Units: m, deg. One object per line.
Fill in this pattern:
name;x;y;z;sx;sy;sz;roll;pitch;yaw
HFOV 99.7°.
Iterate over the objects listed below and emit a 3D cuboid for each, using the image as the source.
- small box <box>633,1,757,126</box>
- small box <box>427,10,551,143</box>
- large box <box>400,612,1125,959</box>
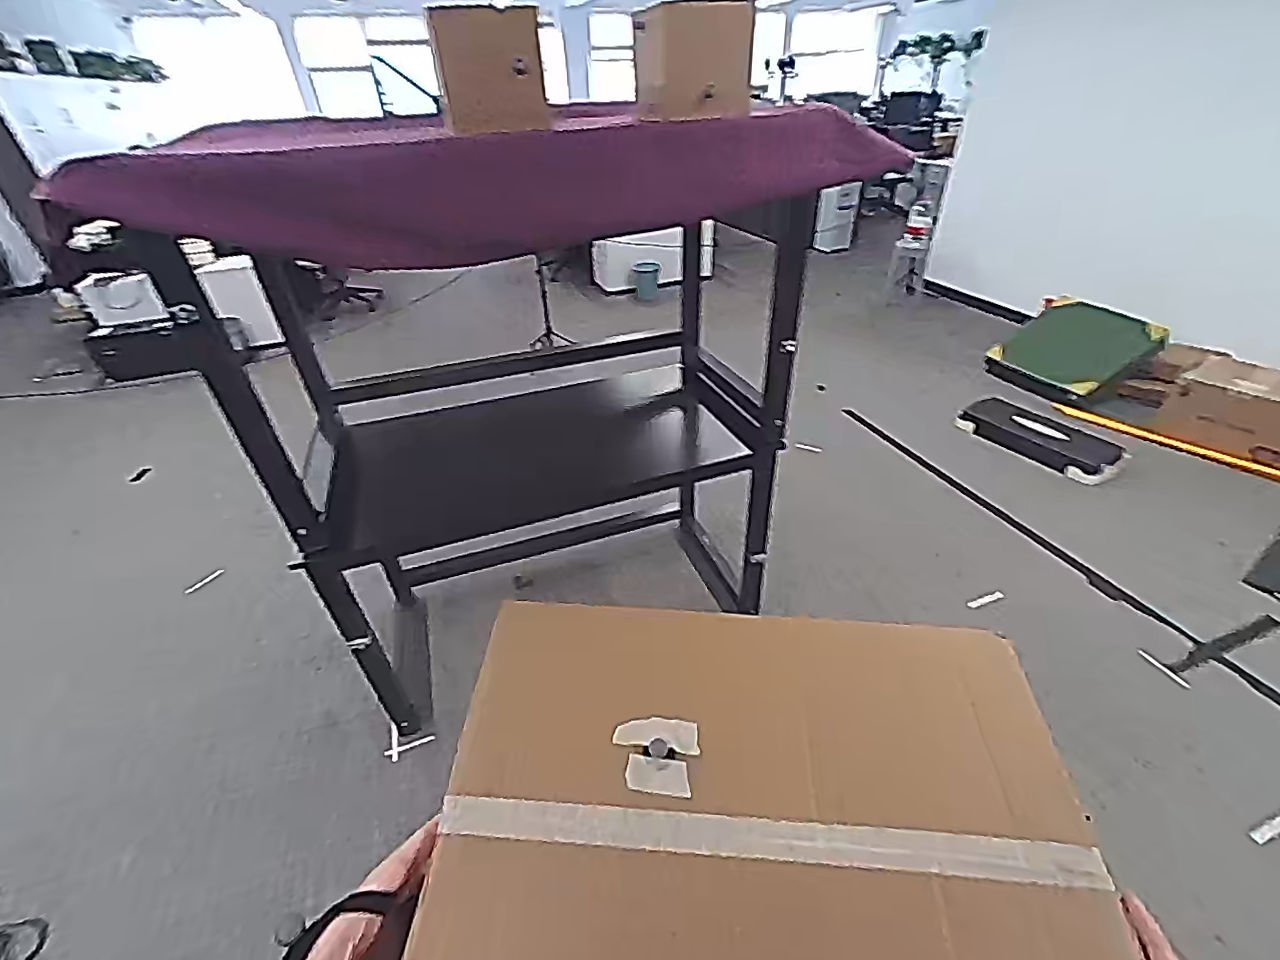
small box;0.095;-0.764;1.003;0.179;0.176;0.168;-15;36;-16
small box;-0.257;-0.693;0.937;0.179;0.176;0.168;-14;36;-13
large box;0.074;0.323;0.442;0.408;0.320;0.320;1;47;4
